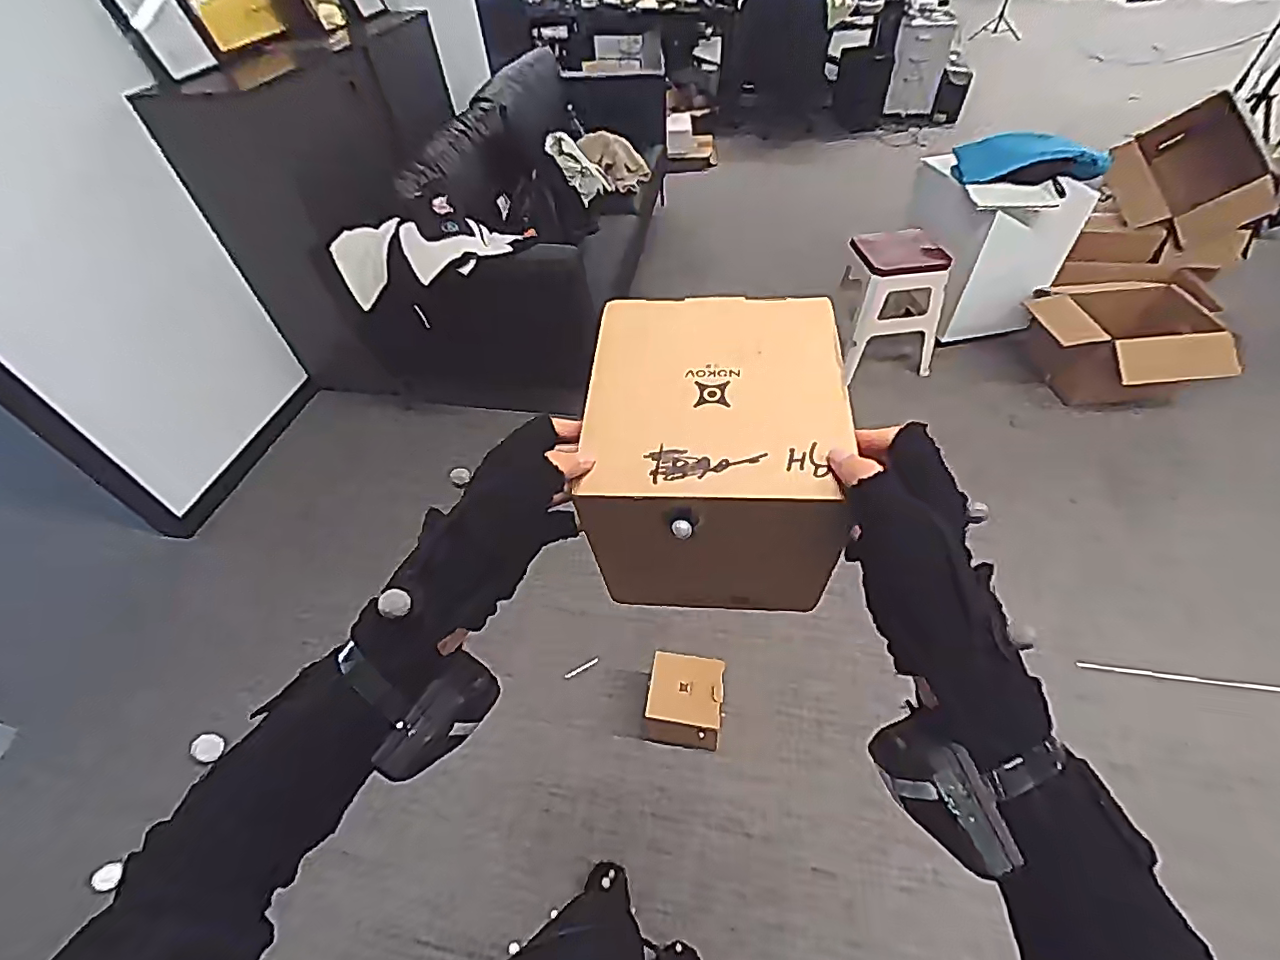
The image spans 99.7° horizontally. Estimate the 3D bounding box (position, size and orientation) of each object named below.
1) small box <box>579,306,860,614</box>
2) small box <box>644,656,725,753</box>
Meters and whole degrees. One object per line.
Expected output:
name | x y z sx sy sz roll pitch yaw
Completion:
small box | 0.060 -0.014 0.425 0.168 0.176 0.179 1 54 8
small box | 0.115 0.563 1.352 0.179 0.176 0.168 6 49 10
